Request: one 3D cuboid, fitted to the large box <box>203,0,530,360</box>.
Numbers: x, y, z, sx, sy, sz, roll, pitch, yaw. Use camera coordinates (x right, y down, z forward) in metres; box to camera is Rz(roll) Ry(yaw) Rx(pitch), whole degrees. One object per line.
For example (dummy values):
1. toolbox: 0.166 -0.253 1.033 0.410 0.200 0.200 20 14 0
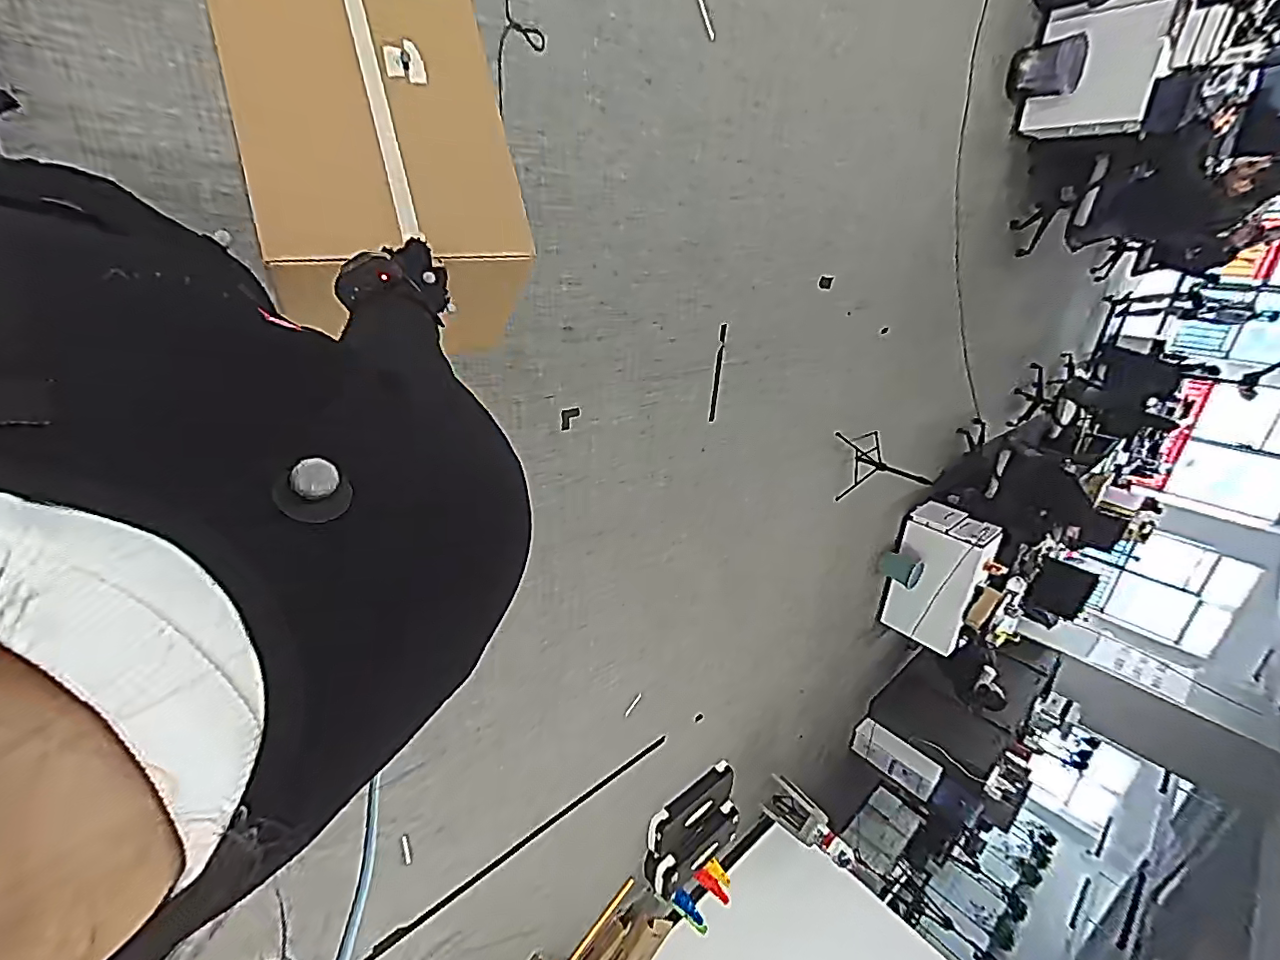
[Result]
1. large box: -0.398 -0.441 0.820 0.320 0.320 0.408 -14 85 -28
